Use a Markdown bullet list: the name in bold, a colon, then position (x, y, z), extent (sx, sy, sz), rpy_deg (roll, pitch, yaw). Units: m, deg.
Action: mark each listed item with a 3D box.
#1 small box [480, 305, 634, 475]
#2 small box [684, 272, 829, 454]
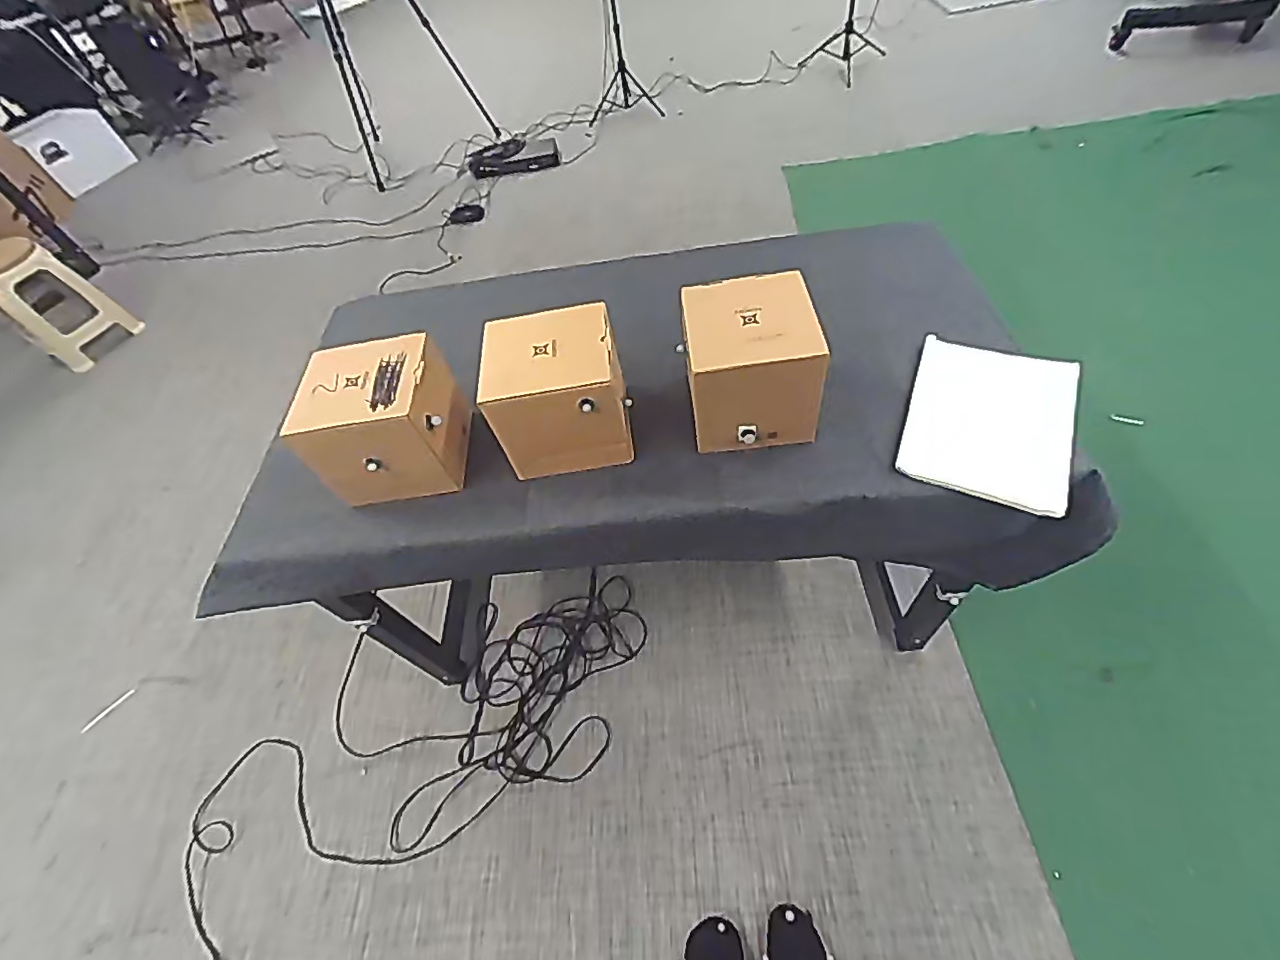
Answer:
- **small box**: position (-0.113, -0.124, 0.785), extent (0.179, 0.176, 0.168), rpy_deg (-9, 53, 2)
- **small box**: position (0.155, -0.161, 0.765), extent (0.168, 0.176, 0.179), rpy_deg (-8, 54, 6)
